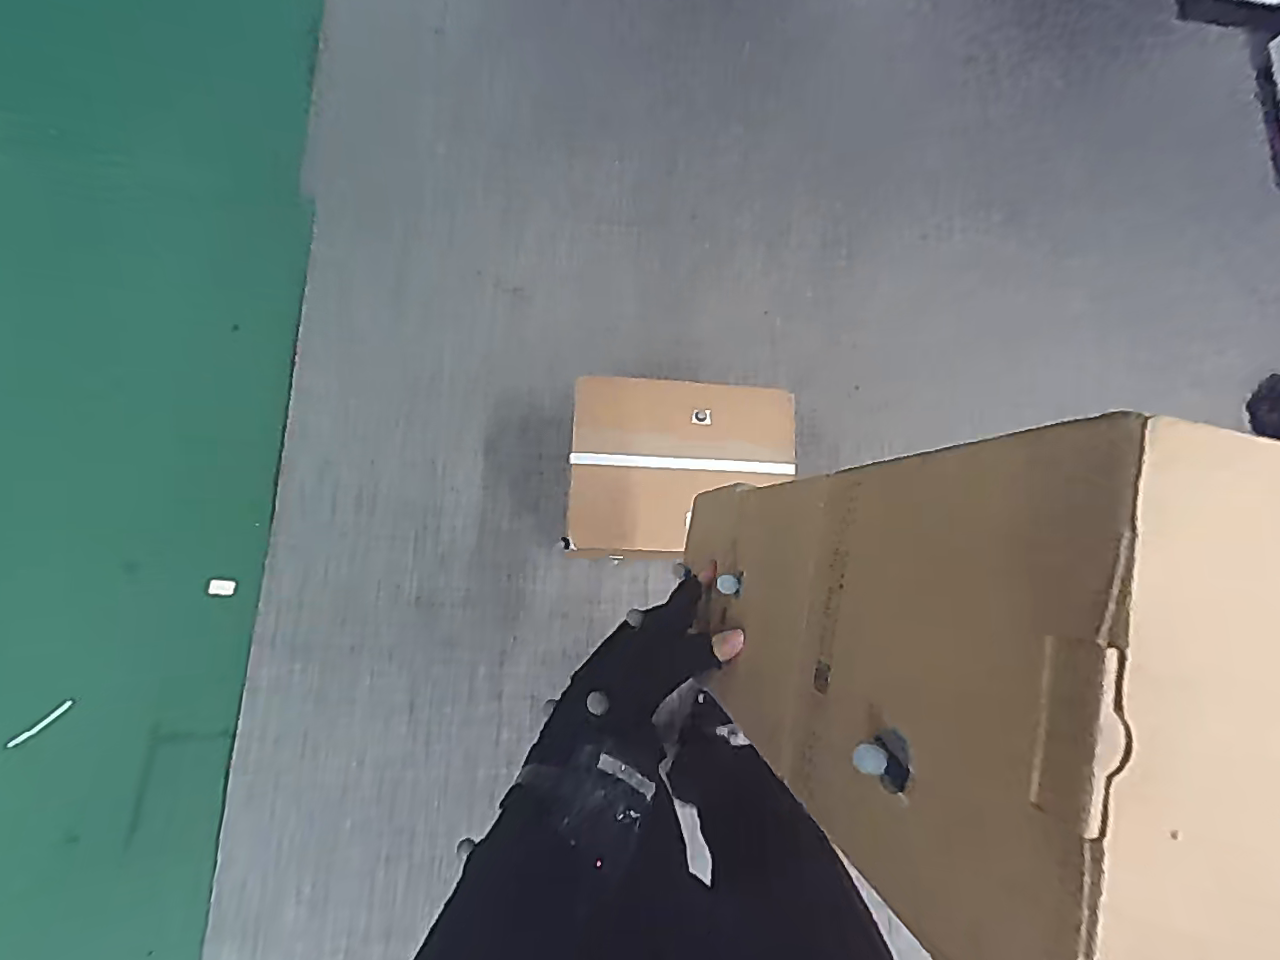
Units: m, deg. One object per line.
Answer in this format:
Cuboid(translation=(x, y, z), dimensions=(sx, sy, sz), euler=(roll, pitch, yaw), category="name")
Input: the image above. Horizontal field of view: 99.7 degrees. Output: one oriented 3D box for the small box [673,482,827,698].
Cuboid(translation=(0.134, 0.106, 0.546), dimensions=(0.168, 0.176, 0.179), euler=(10, 85, -5), category="small box")
